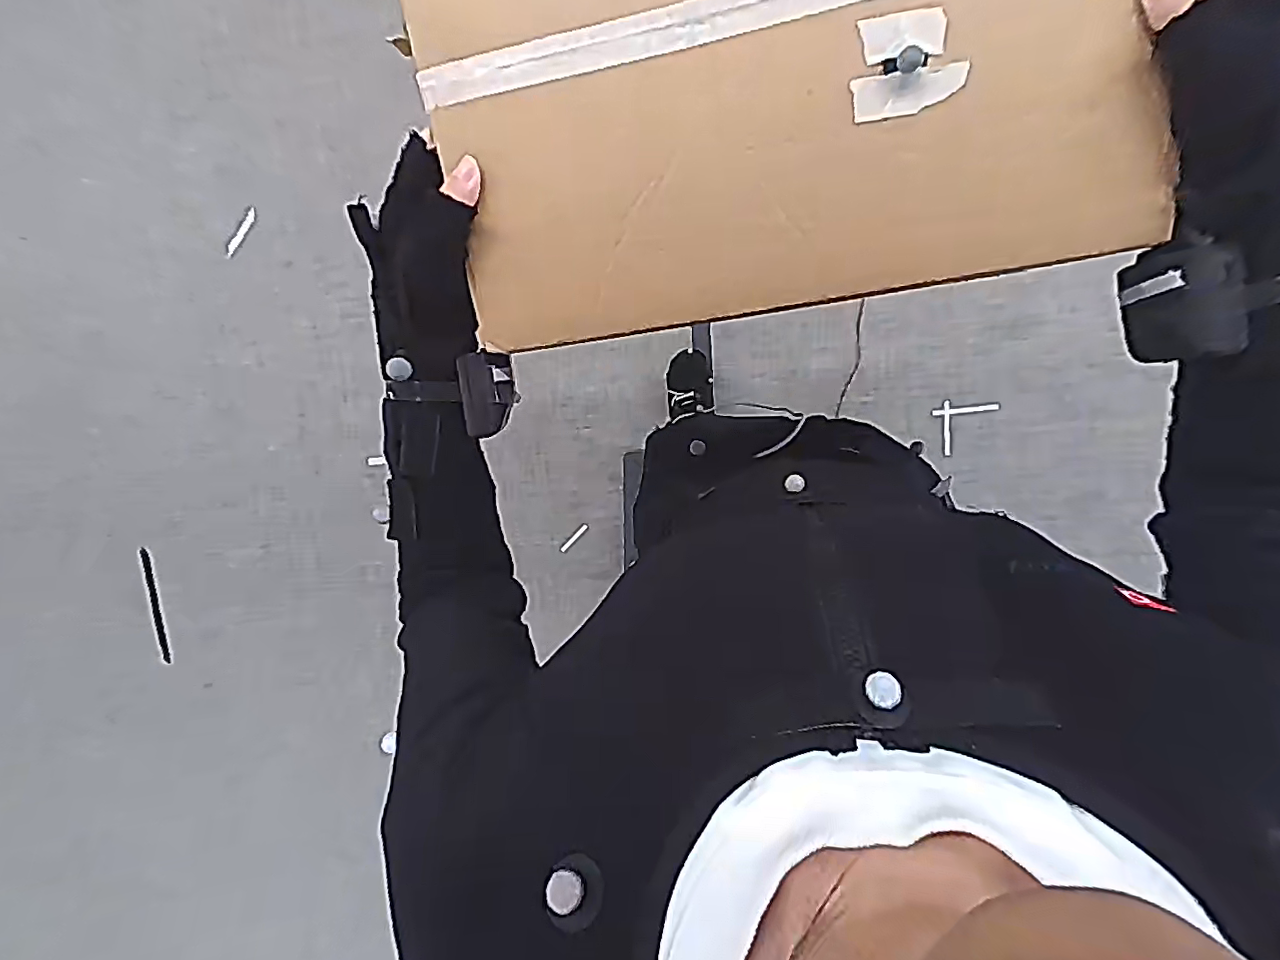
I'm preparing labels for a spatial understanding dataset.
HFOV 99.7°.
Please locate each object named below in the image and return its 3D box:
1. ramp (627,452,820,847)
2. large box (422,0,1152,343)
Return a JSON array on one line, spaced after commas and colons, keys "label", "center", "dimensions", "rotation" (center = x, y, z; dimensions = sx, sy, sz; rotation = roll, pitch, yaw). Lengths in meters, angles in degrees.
[{"label": "ramp", "center": [0.208, 0.428, 1.429], "dimensions": [0.509, 0.206, 0.991], "rotation": [-2, 96, 10]}, {"label": "large box", "center": [0.085, -0.308, 0.449], "dimensions": [0.408, 0.320, 0.320], "rotation": [-7, 106, 9]}]
